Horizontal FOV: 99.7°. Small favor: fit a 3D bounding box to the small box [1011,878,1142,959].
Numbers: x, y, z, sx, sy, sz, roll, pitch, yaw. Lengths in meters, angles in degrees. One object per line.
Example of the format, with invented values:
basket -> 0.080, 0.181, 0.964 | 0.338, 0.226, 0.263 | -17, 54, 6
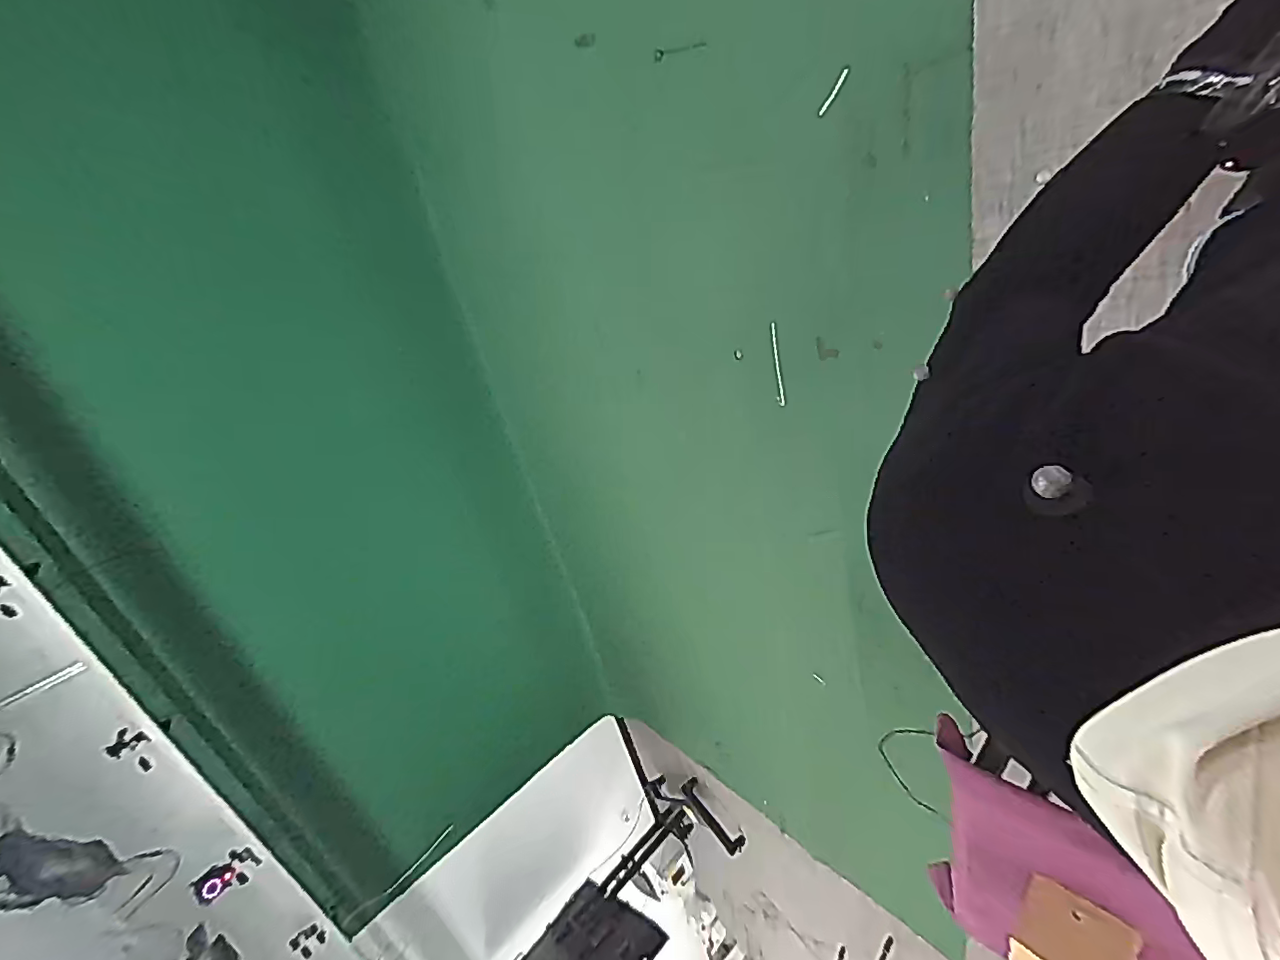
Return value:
small box -> 0.904, 0.983, 1.126 | 0.179, 0.176, 0.168 | 13, 127, 48
